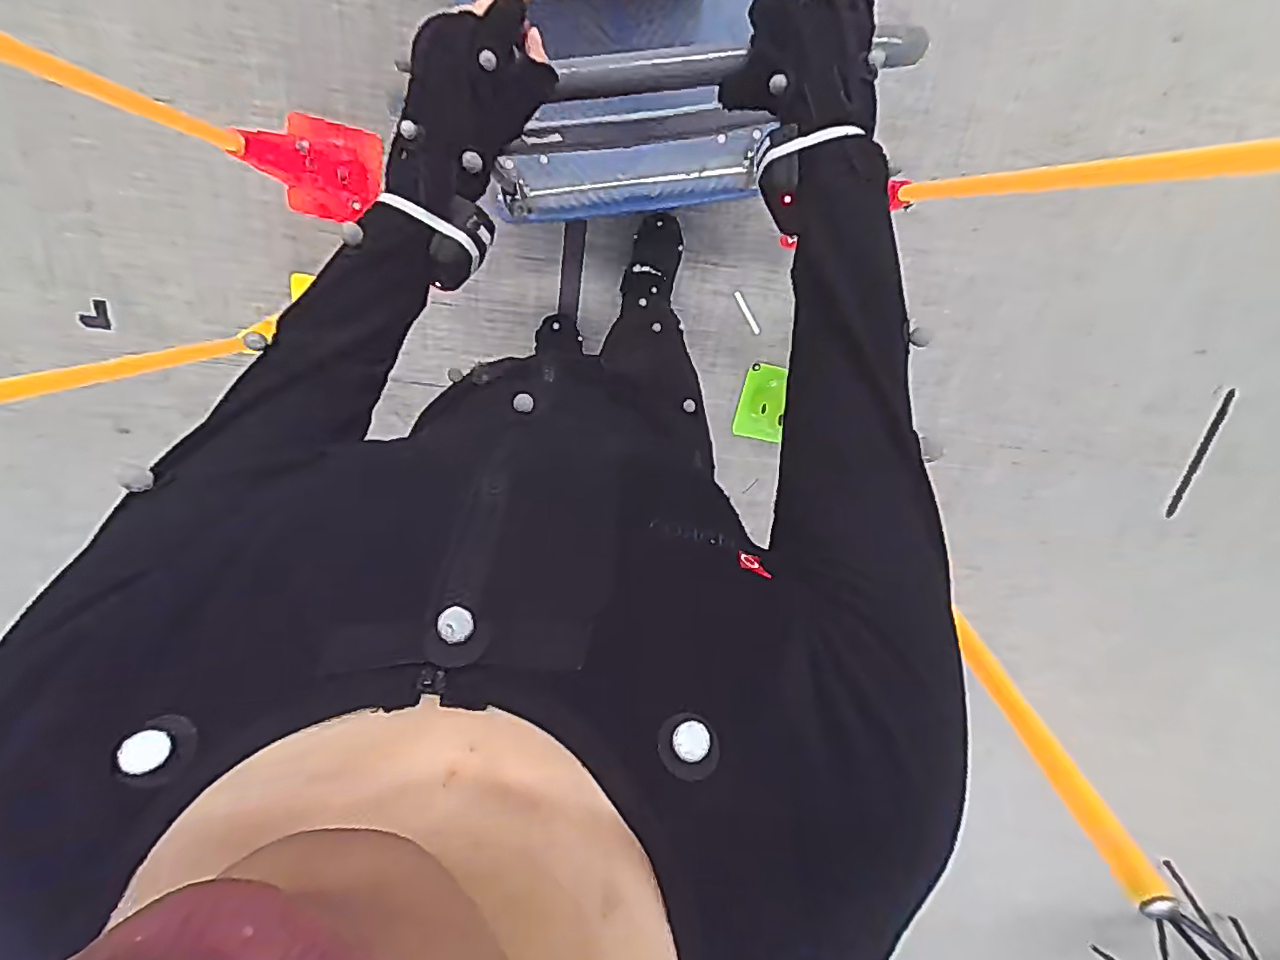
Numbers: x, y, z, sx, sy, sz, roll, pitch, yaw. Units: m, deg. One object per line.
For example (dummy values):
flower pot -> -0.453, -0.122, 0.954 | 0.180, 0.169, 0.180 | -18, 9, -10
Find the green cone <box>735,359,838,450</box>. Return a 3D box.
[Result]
green cone -> 0.377, -0.146, 1.286 | 0.202, 0.368, 0.200 | 9, 112, -7

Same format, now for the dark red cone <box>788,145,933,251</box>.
dark red cone -> 0.462, -0.582, 1.091 | 0.201, 0.394, 0.202 | 5, 112, -6

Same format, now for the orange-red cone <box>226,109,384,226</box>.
orange-red cone -> -0.671, -0.631, 1.049 | 0.198, 0.360, 0.199 | 13, 110, -8
